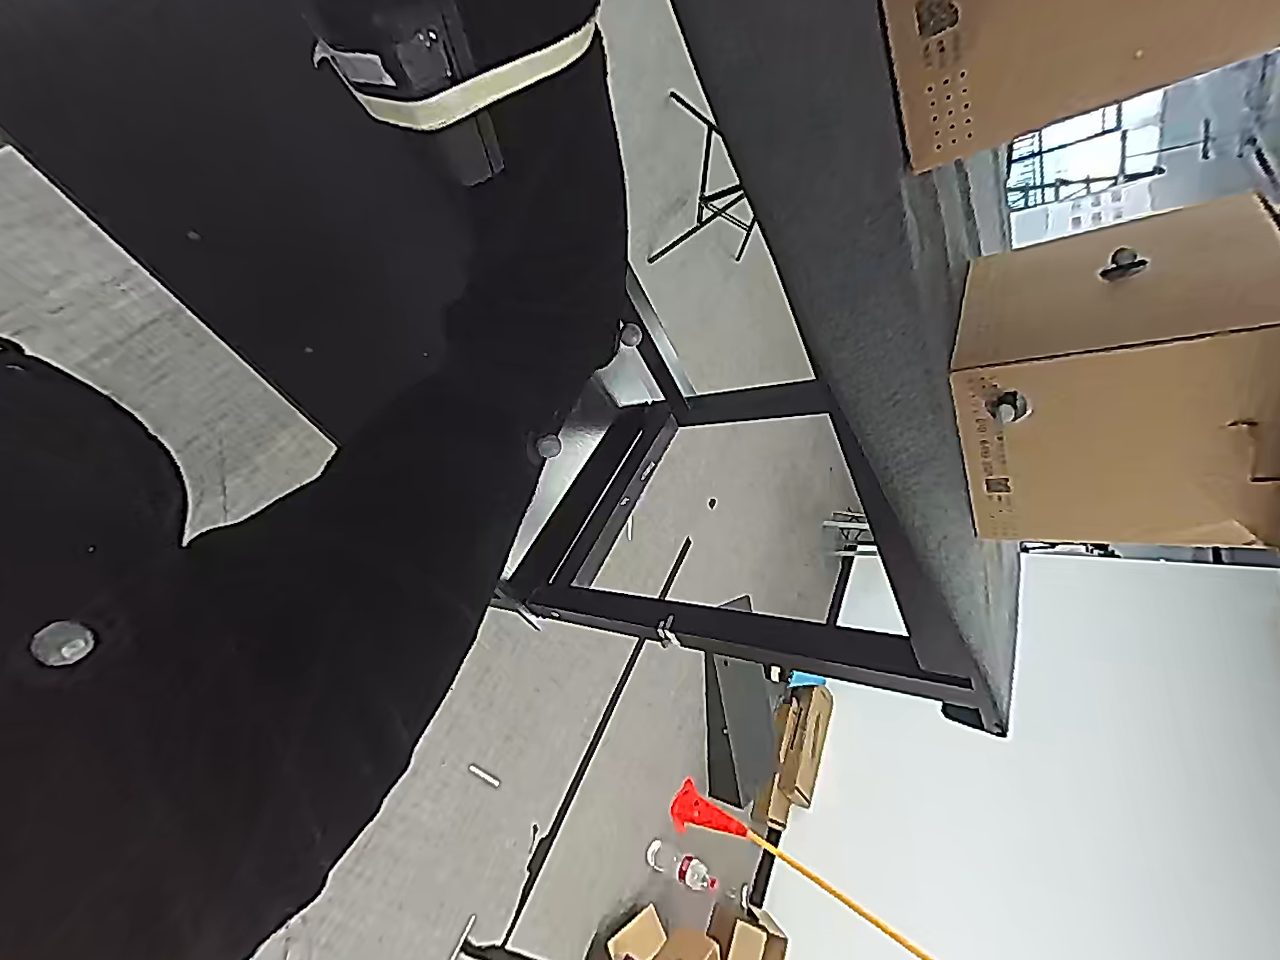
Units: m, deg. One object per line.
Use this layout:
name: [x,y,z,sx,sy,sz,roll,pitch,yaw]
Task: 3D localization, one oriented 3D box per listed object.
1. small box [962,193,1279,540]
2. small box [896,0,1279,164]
small box: [0.346,-0.073,0.401,0.168,0.176,0.179,59,45,-31]
small box: [0.206,-0.274,0.229,0.168,0.176,0.179,57,46,-33]
